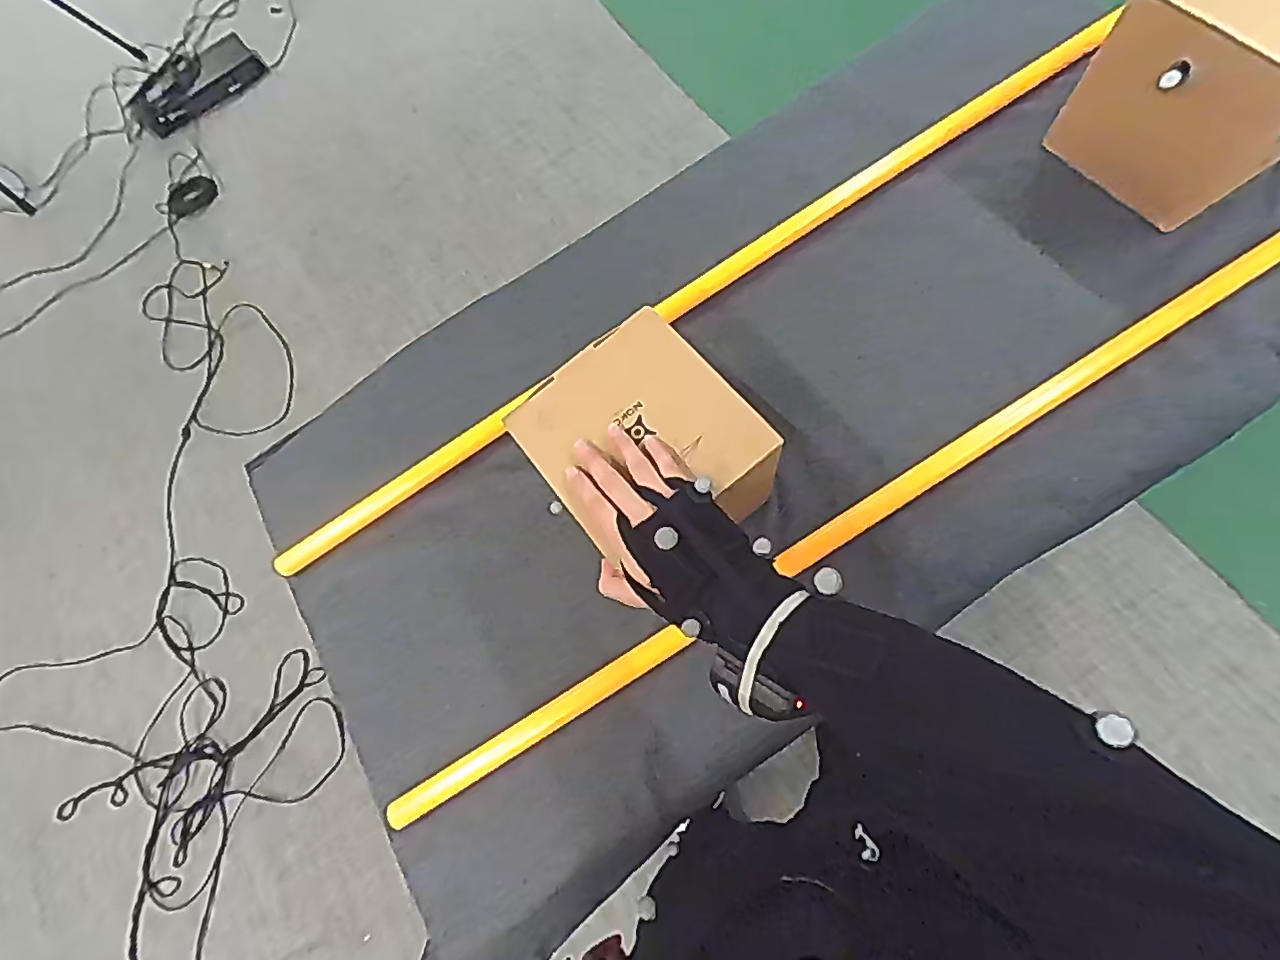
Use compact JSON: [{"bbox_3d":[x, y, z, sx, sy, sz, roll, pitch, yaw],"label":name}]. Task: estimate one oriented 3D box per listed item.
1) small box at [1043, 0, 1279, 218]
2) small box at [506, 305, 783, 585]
[{"bbox_3d":[0.569,-0.399,0.539,0.168,0.176,0.179,-34,69,-1],"label":"small box"},{"bbox_3d":[0.009,-0.019,0.515,0.168,0.176,0.179,-40,71,-4],"label":"small box"}]
